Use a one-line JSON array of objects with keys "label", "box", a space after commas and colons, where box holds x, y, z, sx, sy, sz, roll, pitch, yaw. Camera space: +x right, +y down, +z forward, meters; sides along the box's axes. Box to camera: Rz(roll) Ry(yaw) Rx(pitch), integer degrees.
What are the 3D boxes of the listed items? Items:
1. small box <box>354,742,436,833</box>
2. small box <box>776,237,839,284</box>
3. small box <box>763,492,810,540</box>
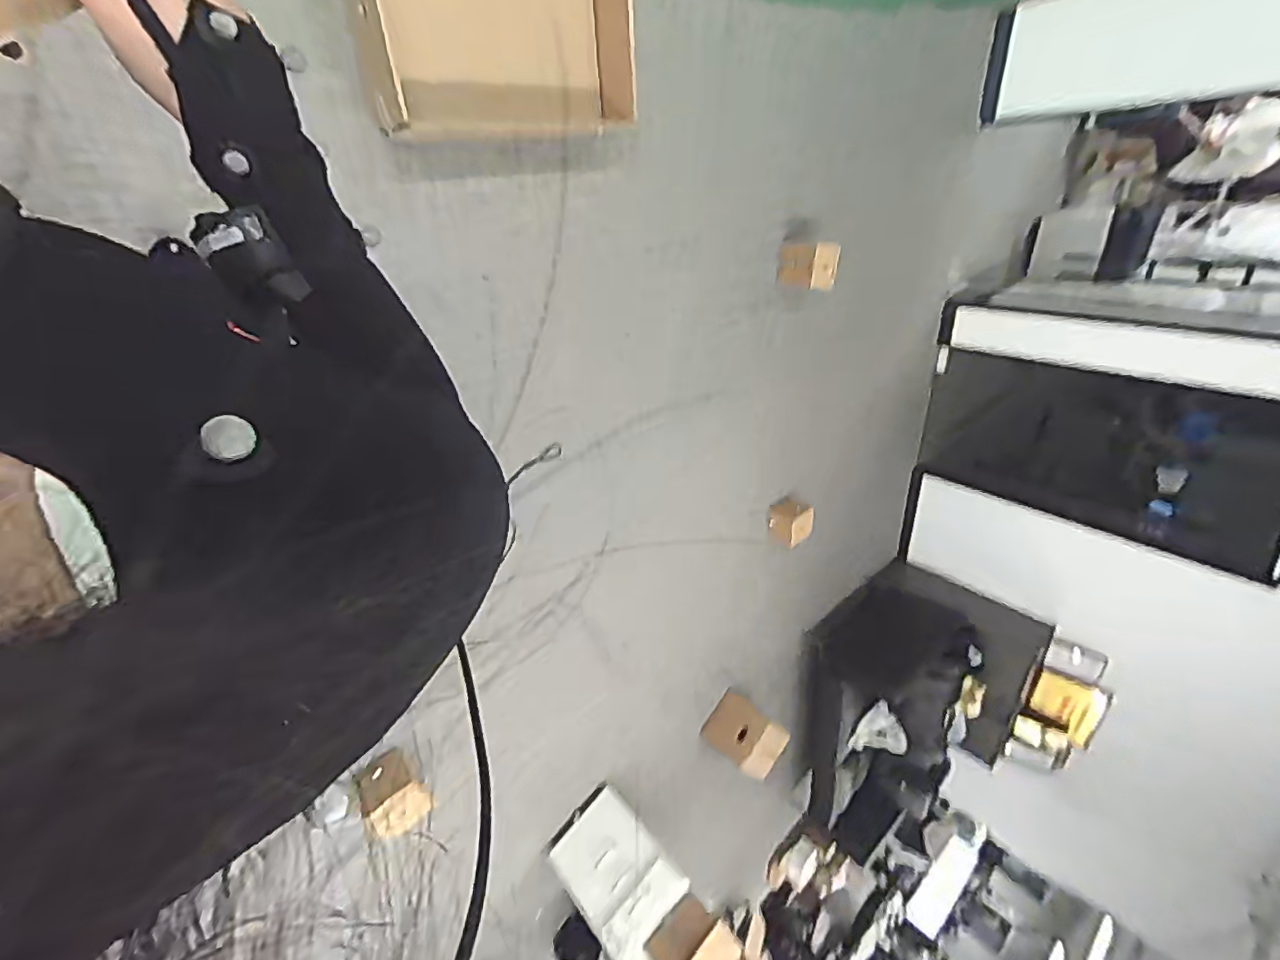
[{"label": "small box", "box": [-0.816, 1.017, 1.801, 0.168, 0.176, 0.179, -35, 130, -26]}, {"label": "small box", "box": [0.685, -0.907, 2.231, 0.179, 0.176, 0.168, -14, 120, -38]}, {"label": "small box", "box": [0.782, 0.185, 2.898, 0.179, 0.176, 0.168, -26, 126, -30]}]
